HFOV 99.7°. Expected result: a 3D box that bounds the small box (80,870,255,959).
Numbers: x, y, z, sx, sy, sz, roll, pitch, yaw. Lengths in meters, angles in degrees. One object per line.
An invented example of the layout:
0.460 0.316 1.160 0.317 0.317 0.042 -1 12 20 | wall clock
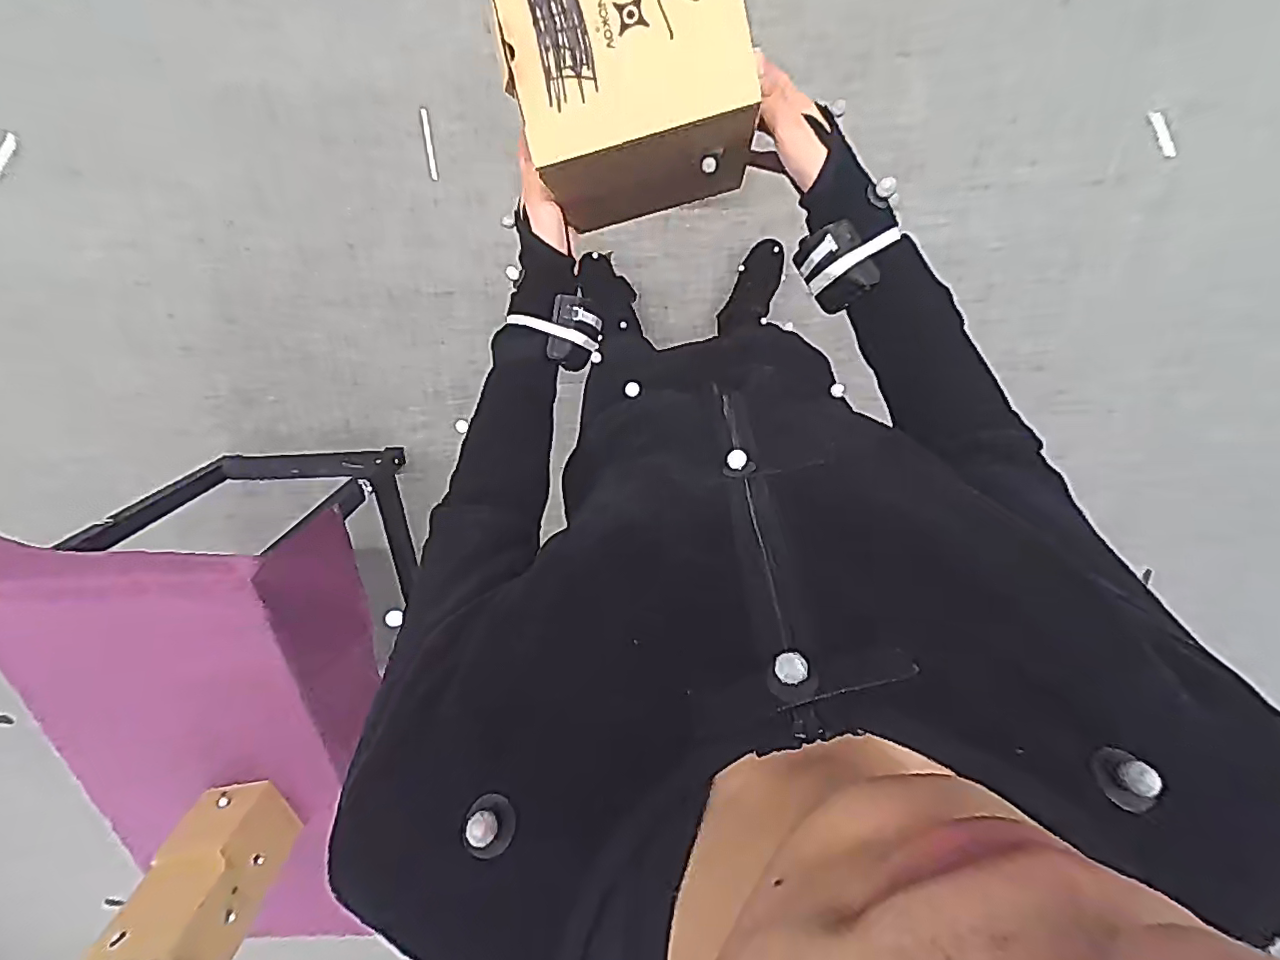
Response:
-0.925 0.911 1.072 0.179 0.176 0.168 -7 115 3 | small box

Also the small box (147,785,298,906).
-0.919 0.822 1.212 0.168 0.176 0.179 -12 113 5 | small box

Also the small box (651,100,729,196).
0.112 -0.778 1.283 0.168 0.176 0.179 1 114 -1 | small box
